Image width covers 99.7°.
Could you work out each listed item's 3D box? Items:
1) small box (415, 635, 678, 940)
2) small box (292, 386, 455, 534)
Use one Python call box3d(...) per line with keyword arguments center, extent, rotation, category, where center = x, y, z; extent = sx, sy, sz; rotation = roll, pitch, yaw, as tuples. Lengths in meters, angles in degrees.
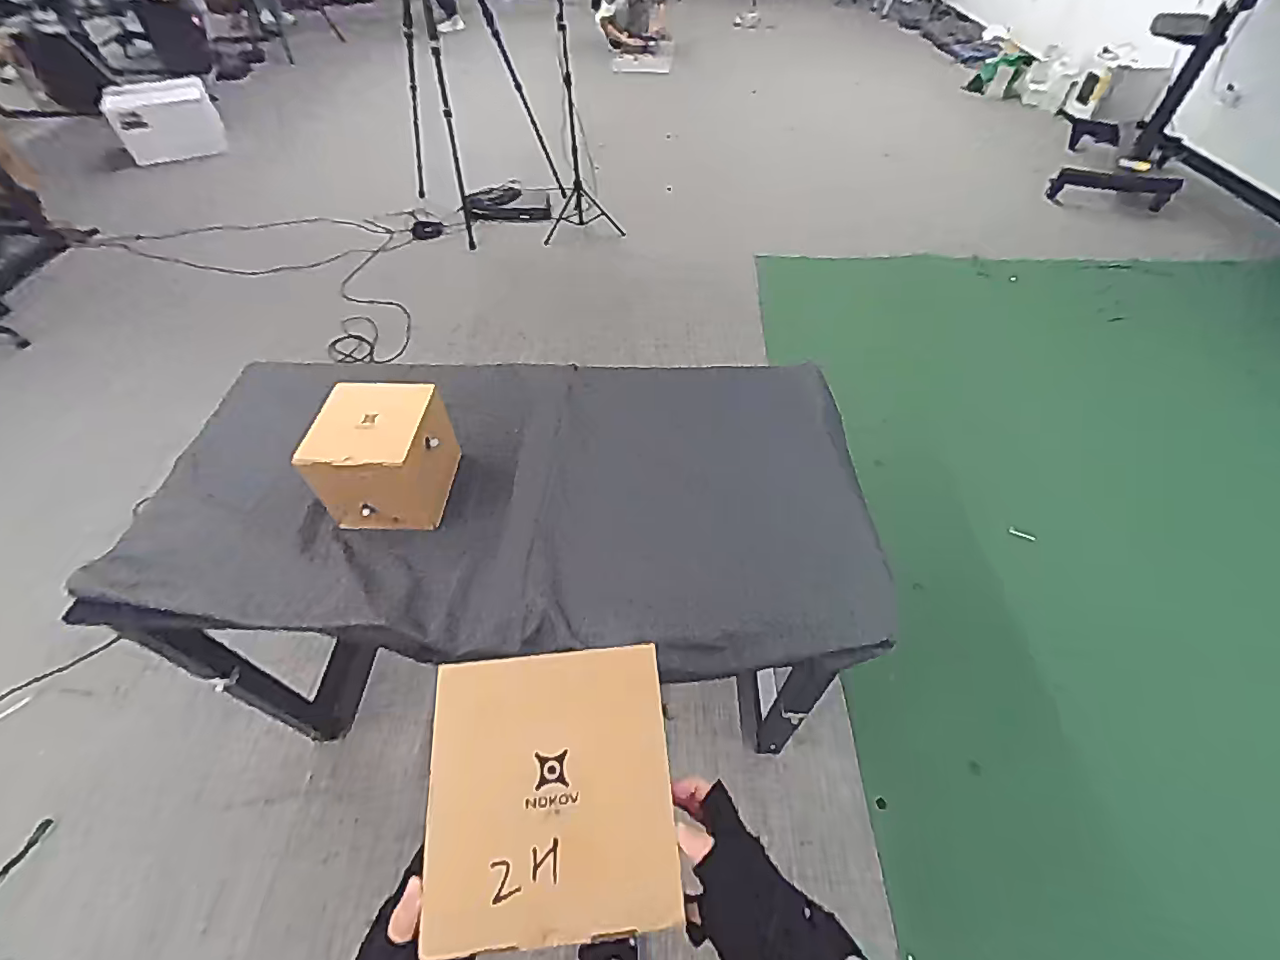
box3d(center=(-0.065, 0.239, 0.444), extent=(0.168, 0.176, 0.179), rotation=(-4, 62, -3), category="small box")
box3d(center=(-0.419, -0.033, 0.890), extent=(0.168, 0.176, 0.179), rotation=(1, 51, 1), category="small box")
